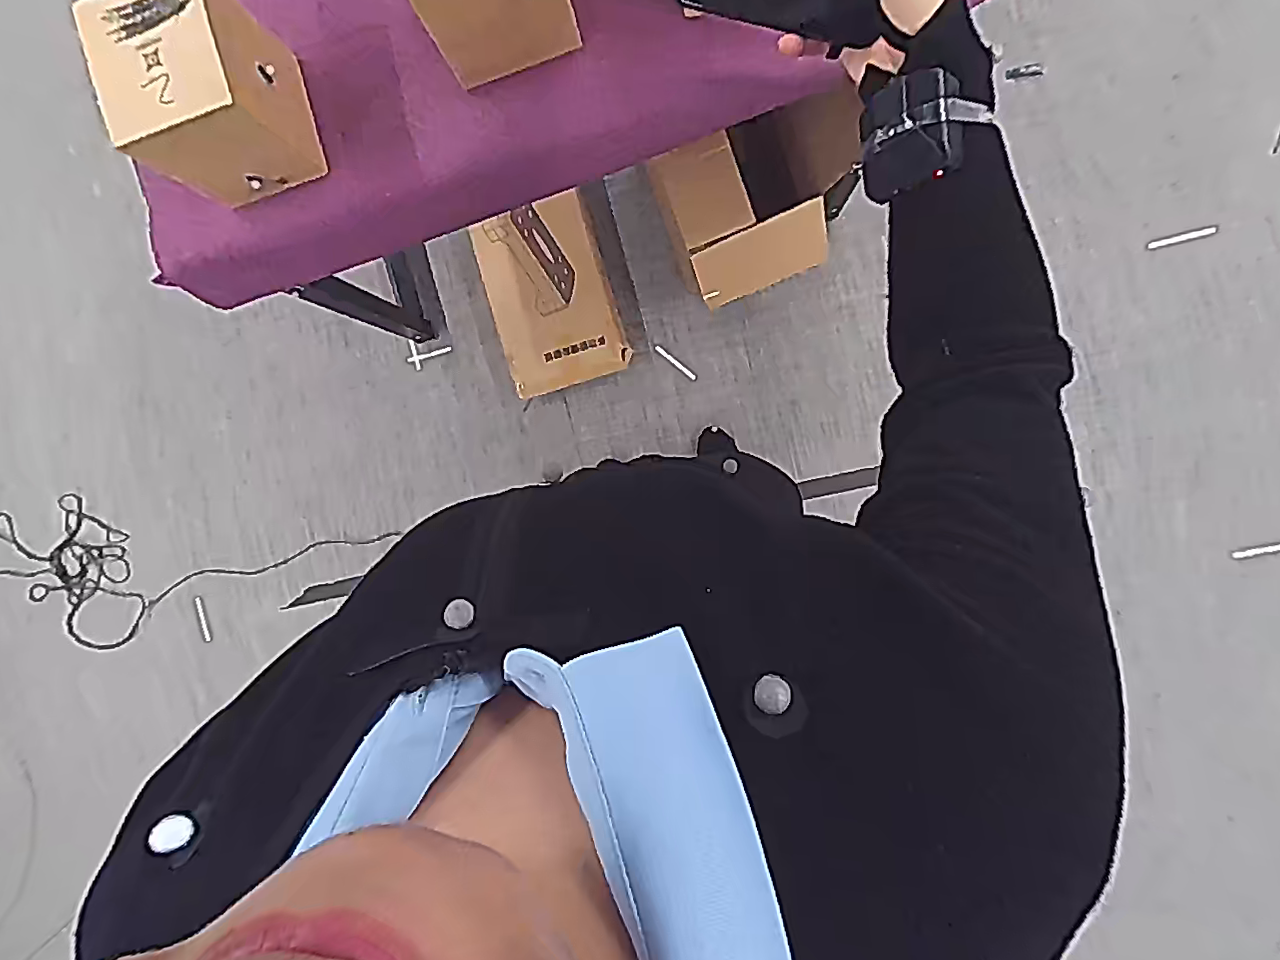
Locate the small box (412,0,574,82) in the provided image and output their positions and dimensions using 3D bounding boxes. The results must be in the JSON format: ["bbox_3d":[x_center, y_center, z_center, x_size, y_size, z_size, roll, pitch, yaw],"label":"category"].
[{"bbox_3d":[-0.188,-0.638,0.653,0.179,0.176,0.168,-16,89,6],"label":"small box"}]

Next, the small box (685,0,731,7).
[{"bbox_3d":[0.123,-0.700,0.620,0.179,0.176,0.168,-8,93,6],"label":"small box"}]
